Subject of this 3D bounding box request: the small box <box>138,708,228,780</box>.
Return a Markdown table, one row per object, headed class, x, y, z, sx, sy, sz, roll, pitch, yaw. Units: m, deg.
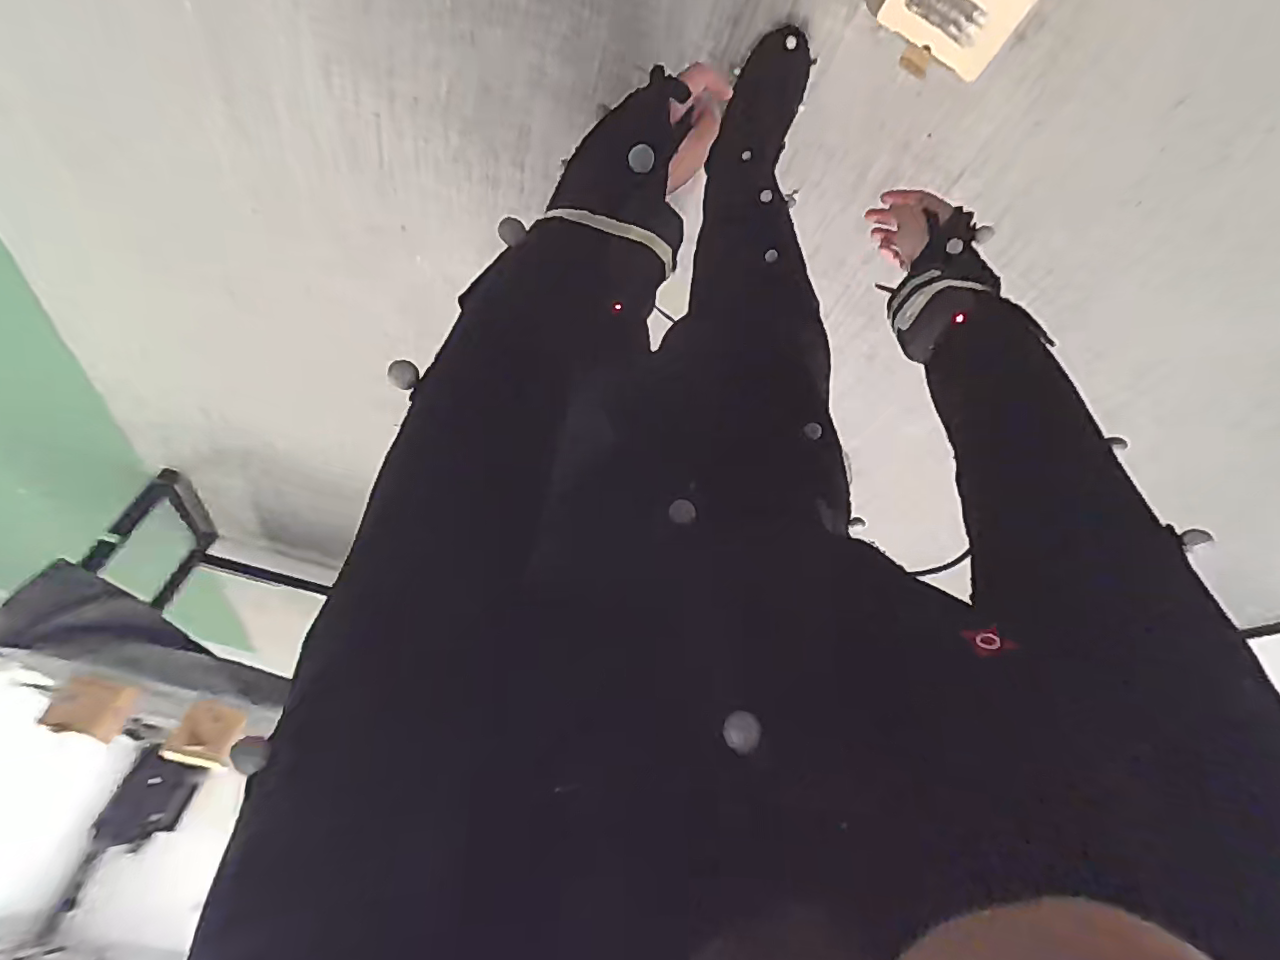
| class | x | y | z | sx | sy | sz | roll | pitch | yaw |
| --- | --- | --- | --- | --- | --- | --- | --- | --- | --- |
| small box | -1.518 | 0.883 | 1.809 | 0.168 | 0.176 | 0.179 | 26 | 138 | -18 |
